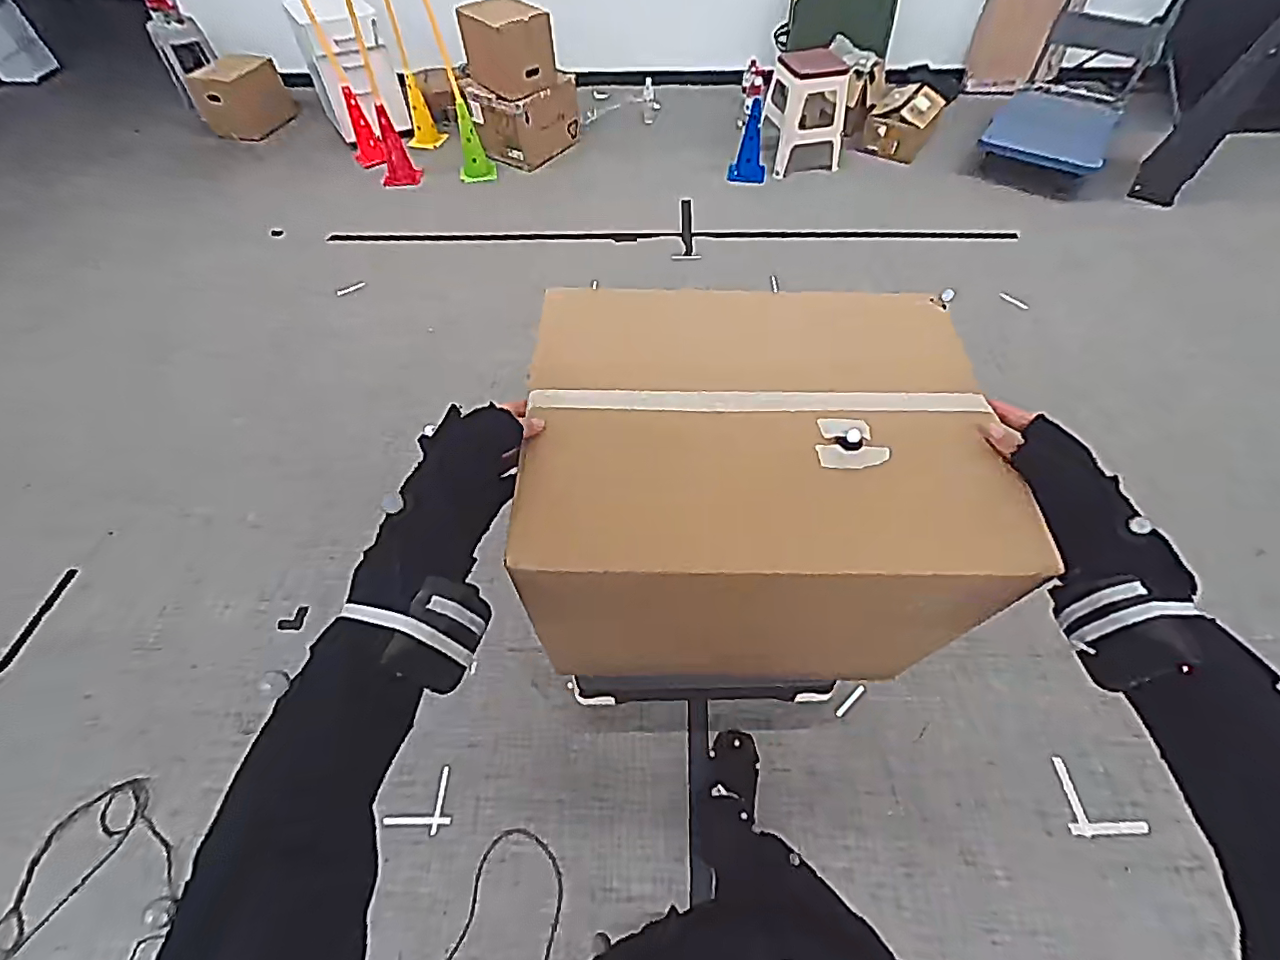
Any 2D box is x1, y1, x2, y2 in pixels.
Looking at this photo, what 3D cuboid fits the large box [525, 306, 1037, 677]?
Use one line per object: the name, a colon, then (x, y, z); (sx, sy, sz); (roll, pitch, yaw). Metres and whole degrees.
large box: (0.102, 0.025, 0.614); (0.408, 0.320, 0.320); (0, 57, -1)
